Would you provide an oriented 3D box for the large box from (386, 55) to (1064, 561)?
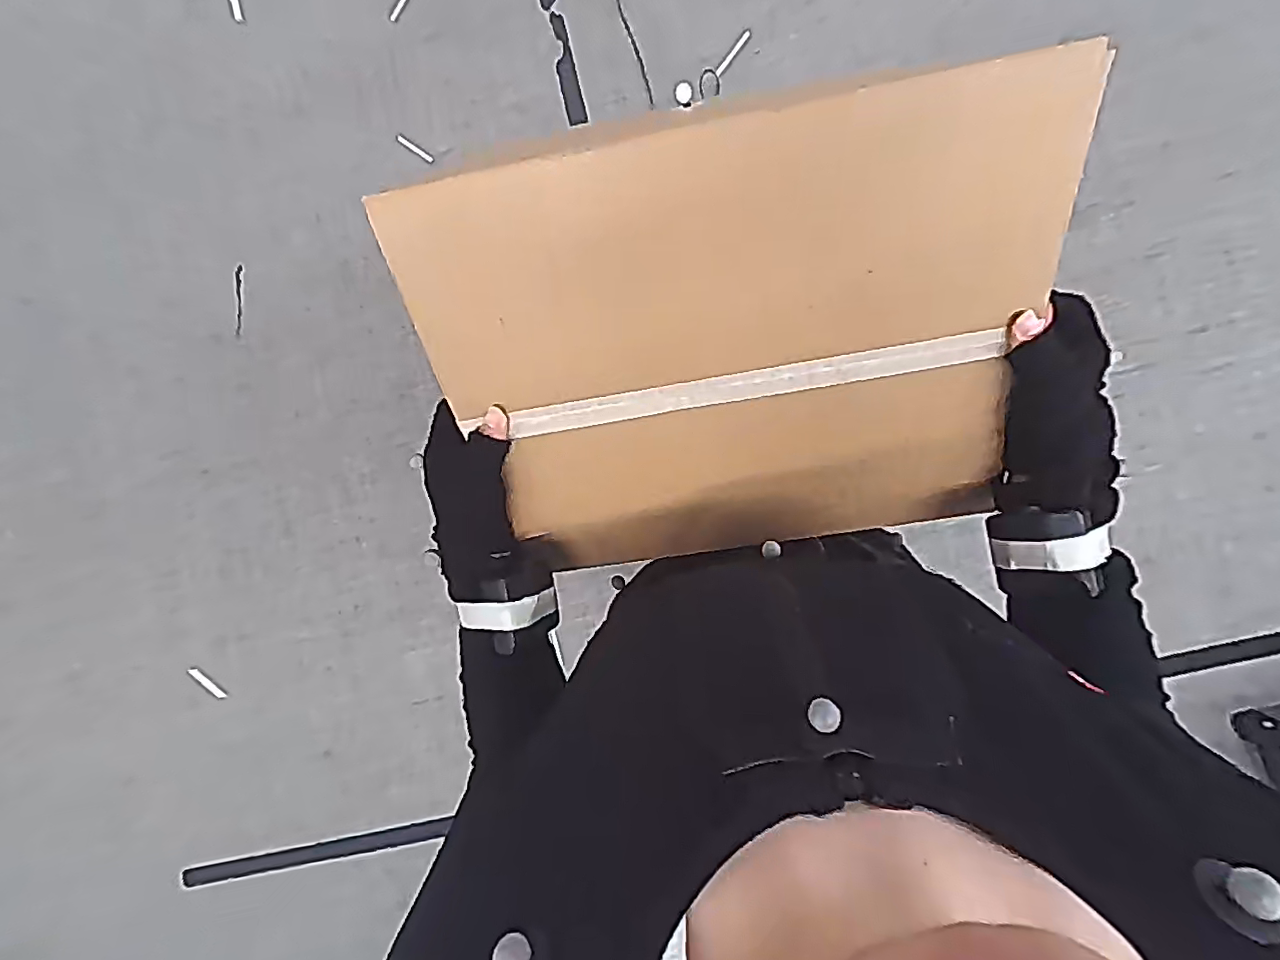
[{"bbox_3d":[0.063,-0.164,0.516,0.408,0.320,0.320,-9,126,6],"label":"large box"}]
